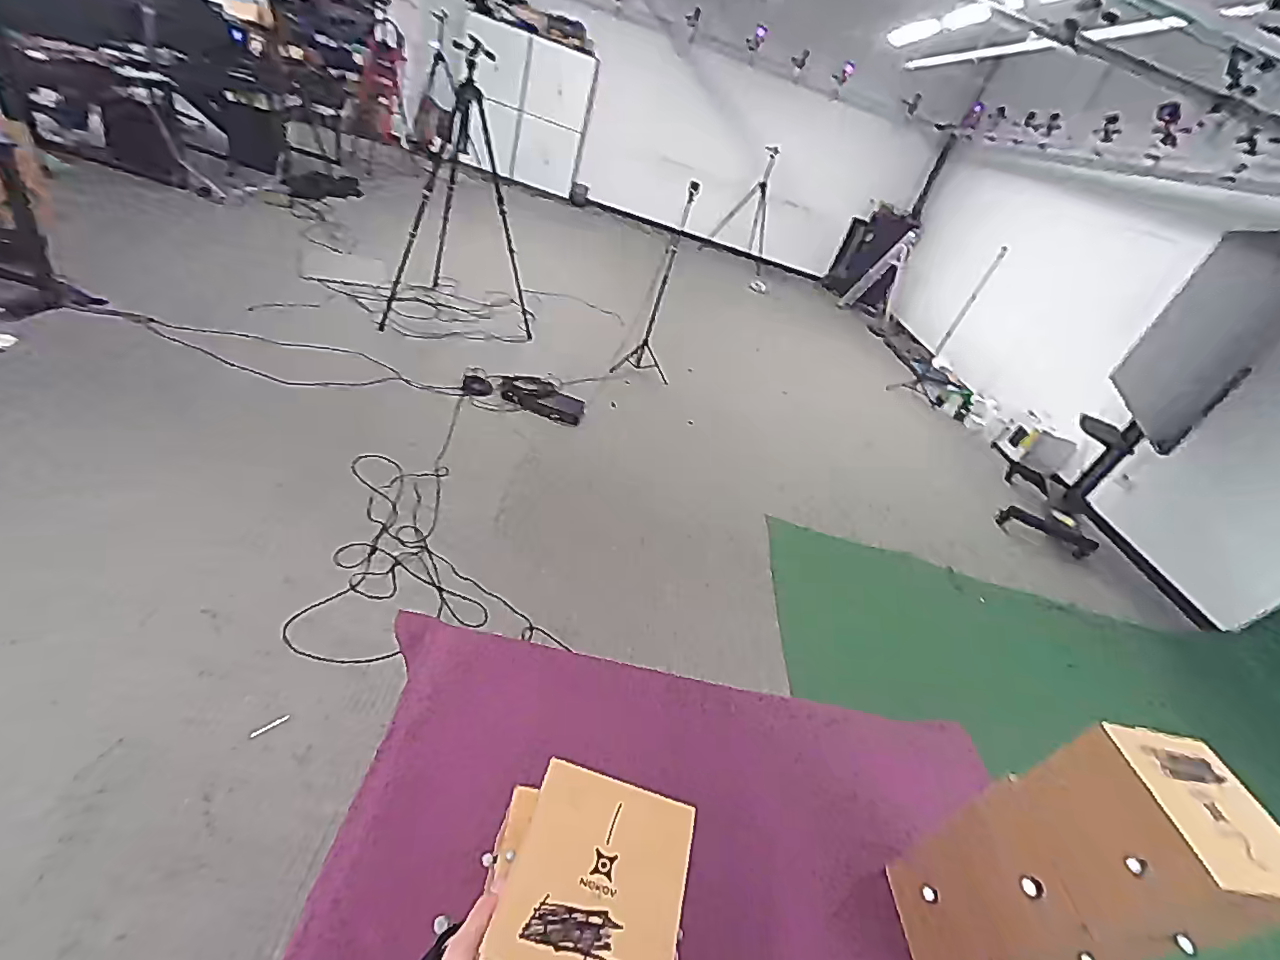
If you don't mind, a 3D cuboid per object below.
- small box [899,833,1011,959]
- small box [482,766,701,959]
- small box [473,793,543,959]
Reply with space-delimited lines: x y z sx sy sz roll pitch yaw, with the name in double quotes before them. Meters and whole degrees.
"small box" 0.533 0.685 0.828 0.168 0.176 0.179 13 33 -7
"small box" -0.048 0.440 0.553 0.168 0.176 0.179 17 37 5
"small box" -0.112 0.551 0.703 0.168 0.176 0.179 15 33 -6
